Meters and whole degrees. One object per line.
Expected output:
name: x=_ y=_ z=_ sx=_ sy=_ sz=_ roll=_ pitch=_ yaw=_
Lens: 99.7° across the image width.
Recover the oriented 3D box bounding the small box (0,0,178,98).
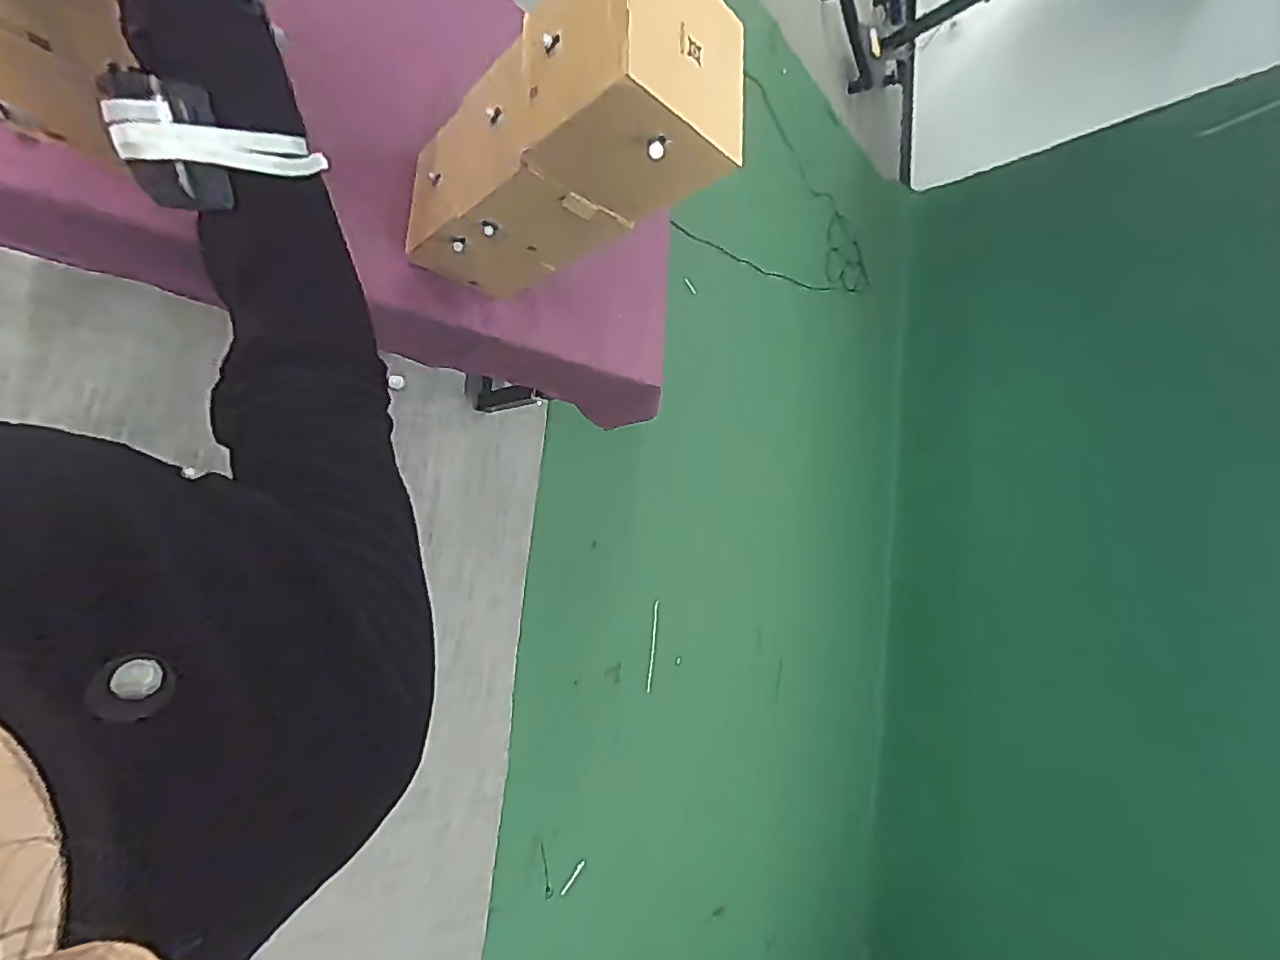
small box: x=-0.440 y=-0.438 z=0.387 sx=0.168 sy=0.176 sz=0.179 roll=13 pitch=79 yaw=-42

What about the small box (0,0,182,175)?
small box: x=-0.554 y=-0.435 z=0.506 sx=0.168 sy=0.176 sz=0.179 roll=14 pitch=80 yaw=-43

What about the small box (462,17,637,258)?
small box: x=-0.117 y=-0.417 z=0.700 sx=0.168 sy=0.176 sz=0.179 roll=6 pitch=83 yaw=-44

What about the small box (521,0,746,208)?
small box: x=-0.006 y=-0.423 z=0.581 sx=0.179 sy=0.176 sz=0.168 roll=4 pitch=85 yaw=-43
